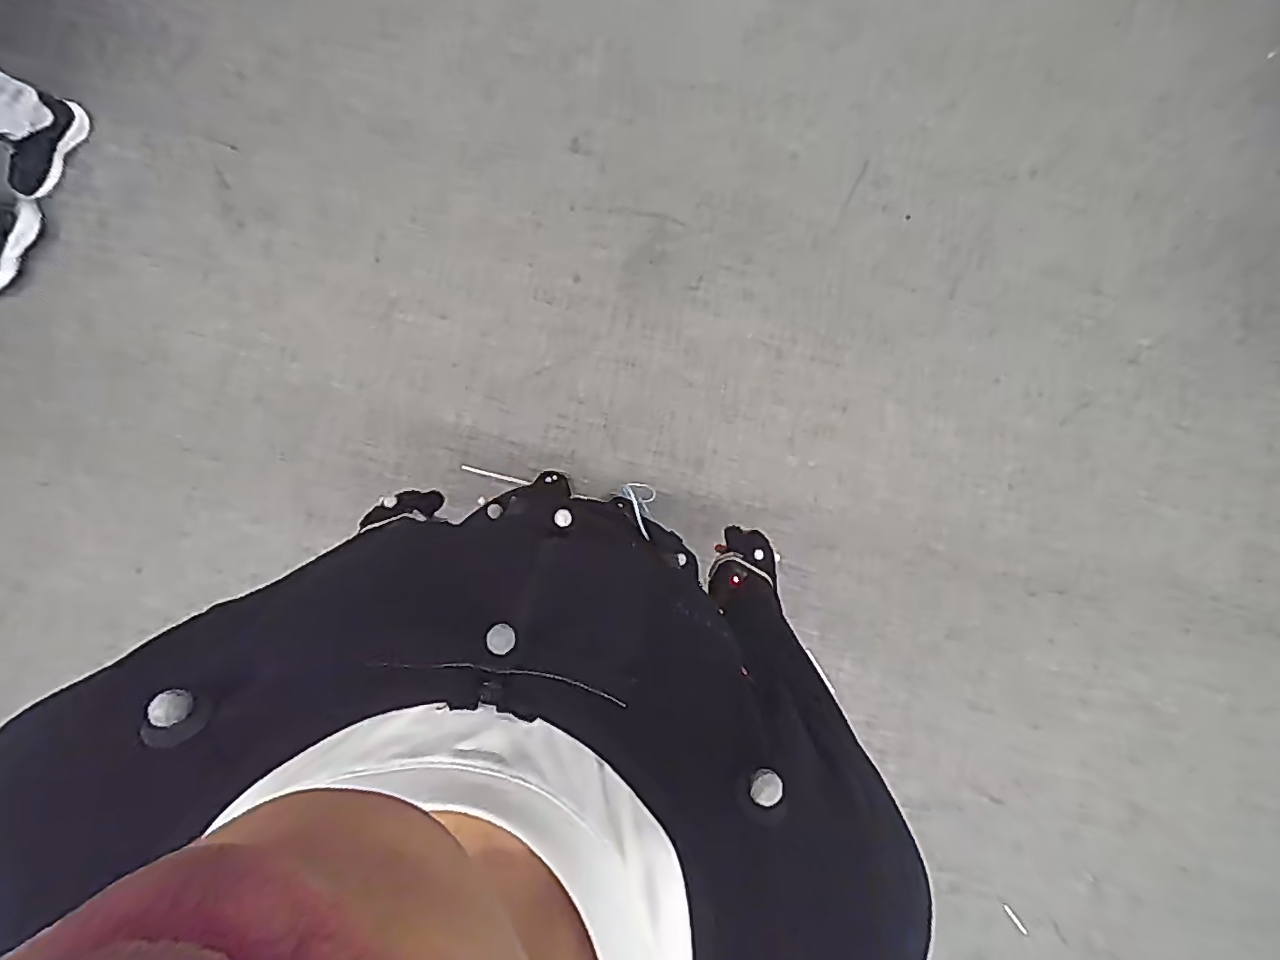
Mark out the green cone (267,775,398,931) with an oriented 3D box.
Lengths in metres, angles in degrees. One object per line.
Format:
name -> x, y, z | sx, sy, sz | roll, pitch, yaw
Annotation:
green cone -> -0.752, 0.897, 1.269 | 0.202, 0.368, 0.200 | 13, 89, -3
